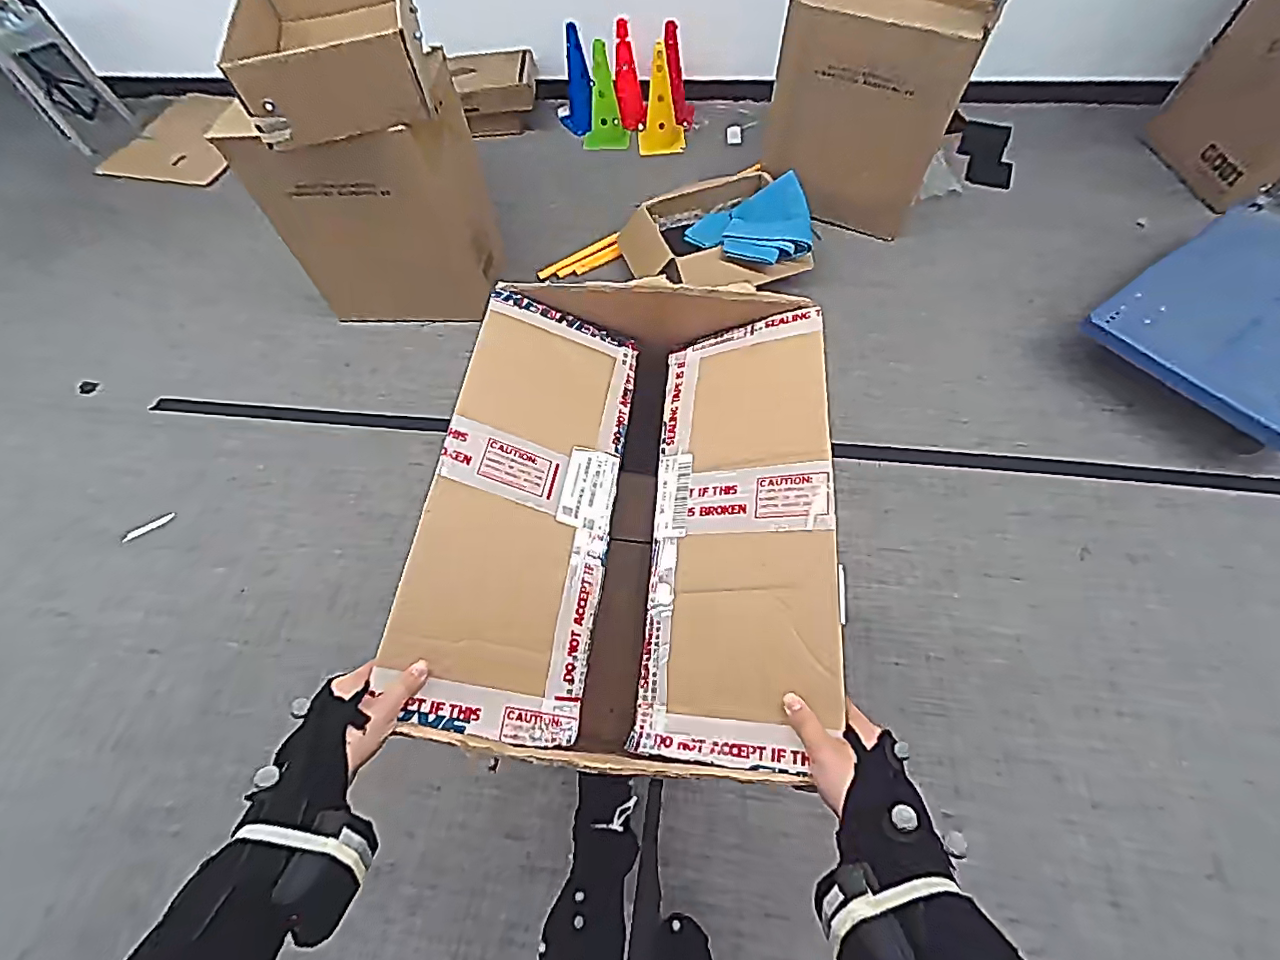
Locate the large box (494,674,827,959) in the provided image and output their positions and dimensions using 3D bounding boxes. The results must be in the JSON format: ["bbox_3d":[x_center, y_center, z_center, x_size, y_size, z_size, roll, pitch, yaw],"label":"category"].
[{"bbox_3d":[0.035,0.545,0.701,0.320,0.408,0.320,-19,24,-6],"label":"large box"}]
